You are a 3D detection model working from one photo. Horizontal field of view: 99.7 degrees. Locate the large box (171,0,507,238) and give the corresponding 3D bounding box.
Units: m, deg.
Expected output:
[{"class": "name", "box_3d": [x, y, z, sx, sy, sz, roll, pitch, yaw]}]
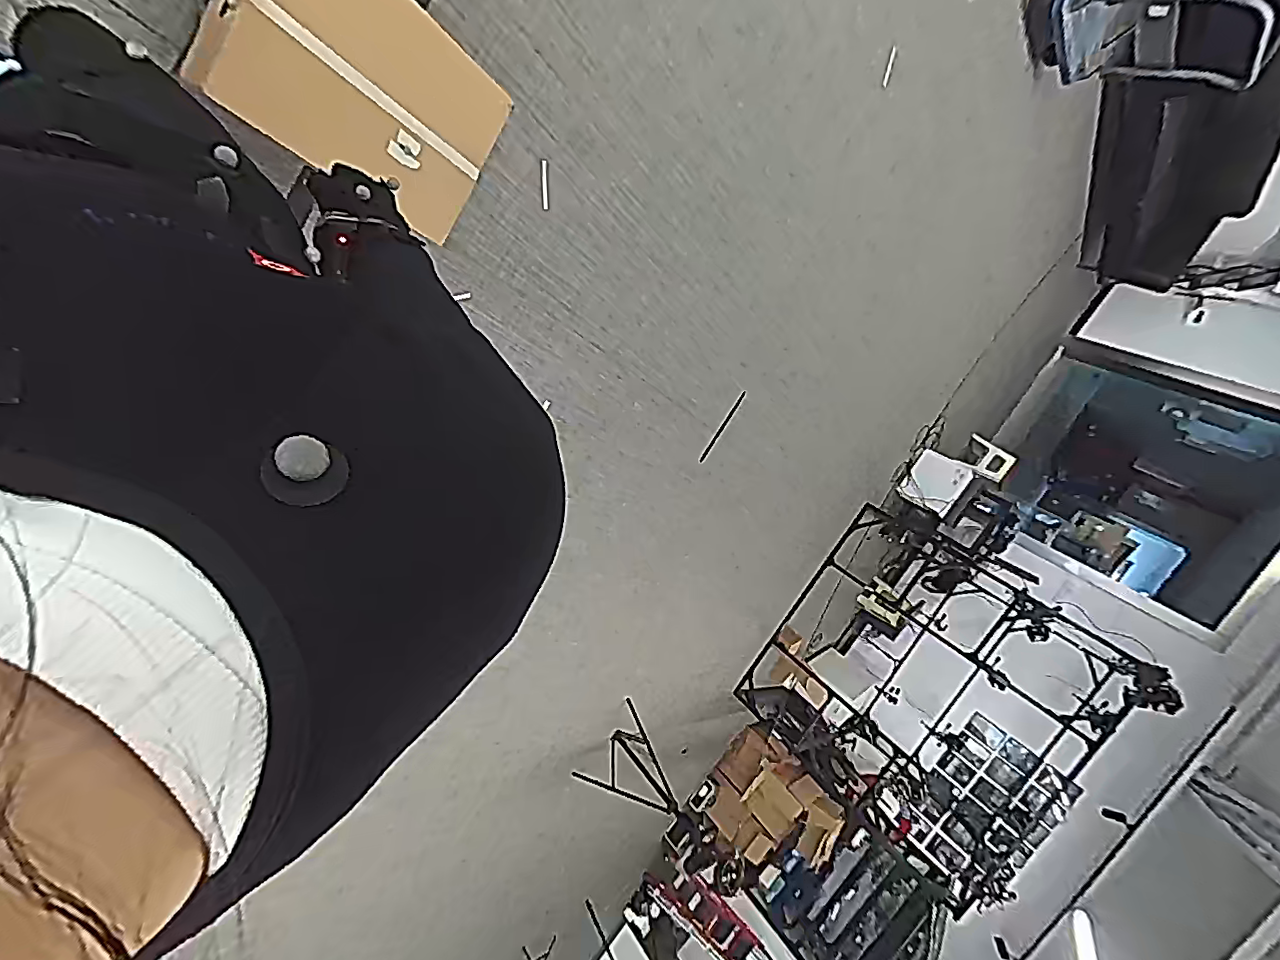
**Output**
[{"class": "large box", "box_3d": [-0.539, -0.723, 0.988, 0.408, 0.320, 0.320, 20, 105, -53]}]
